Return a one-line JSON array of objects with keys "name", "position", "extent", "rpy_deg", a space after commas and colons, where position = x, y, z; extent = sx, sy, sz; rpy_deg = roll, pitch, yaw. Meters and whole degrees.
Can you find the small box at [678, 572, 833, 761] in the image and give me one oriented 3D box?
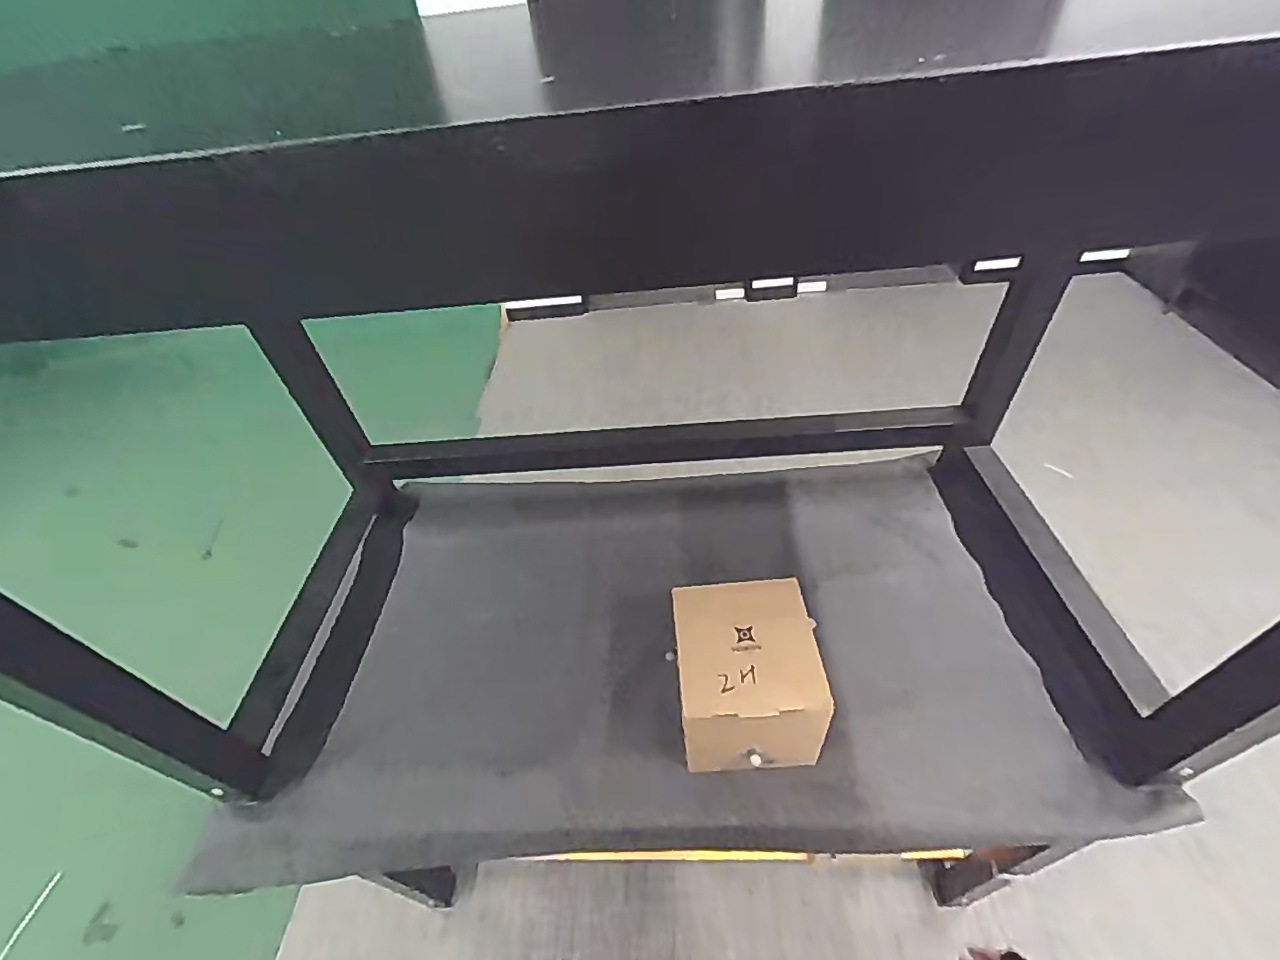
[{"name": "small box", "position": [0.137, 0.245, 0.712], "extent": [0.168, 0.176, 0.179], "rpy_deg": [-5, 43, 3]}]
